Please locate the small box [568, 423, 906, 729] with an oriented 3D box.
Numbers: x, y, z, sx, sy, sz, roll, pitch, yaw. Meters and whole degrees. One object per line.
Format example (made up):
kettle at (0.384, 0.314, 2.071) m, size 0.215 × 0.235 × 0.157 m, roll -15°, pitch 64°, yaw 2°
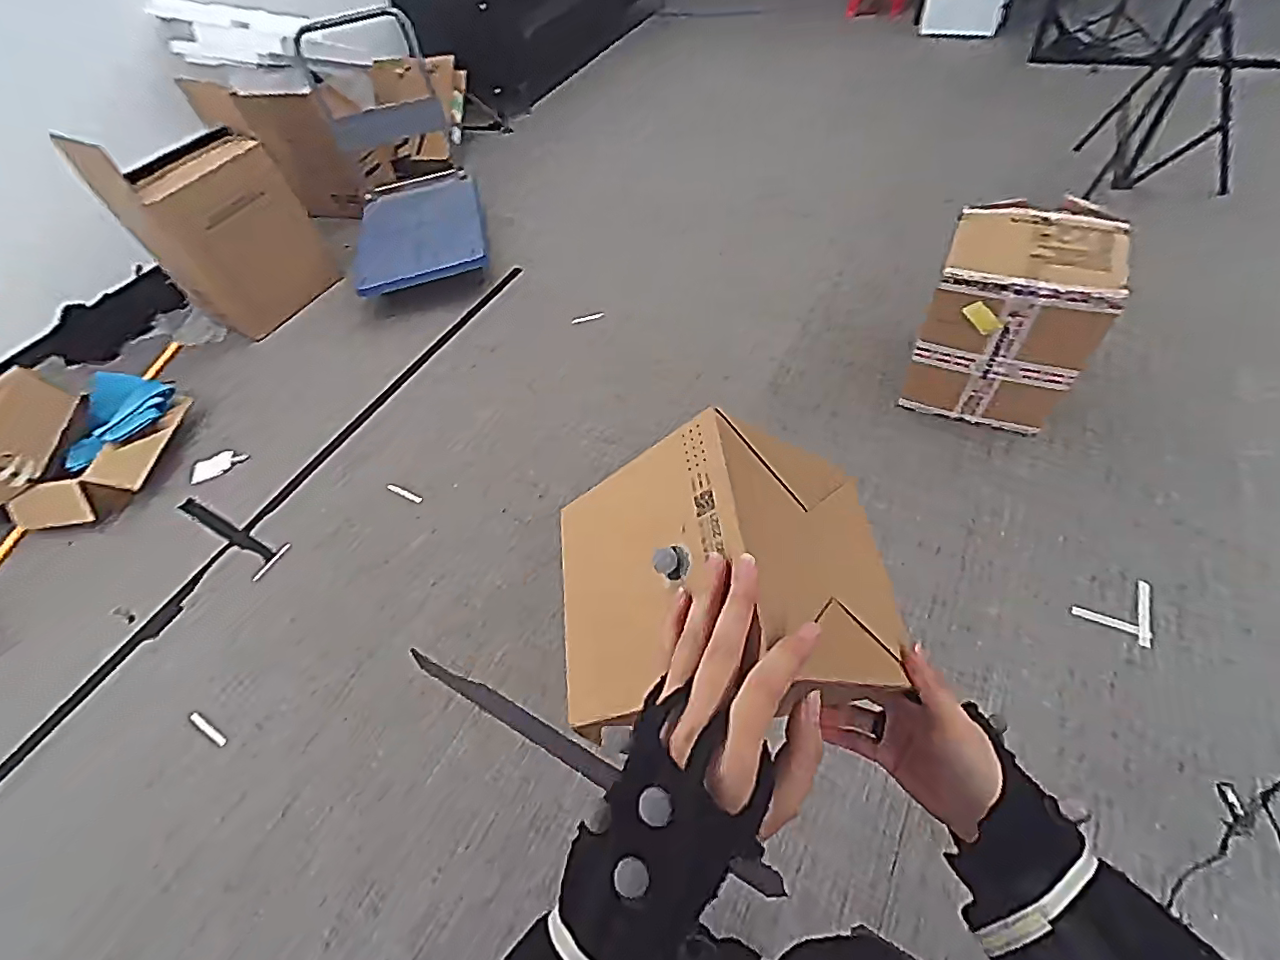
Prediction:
small box at (0.067, 0.085, 0.406) m, size 0.176 × 0.179 × 0.168 m, roll -33°, pitch 51°, yaw 37°
